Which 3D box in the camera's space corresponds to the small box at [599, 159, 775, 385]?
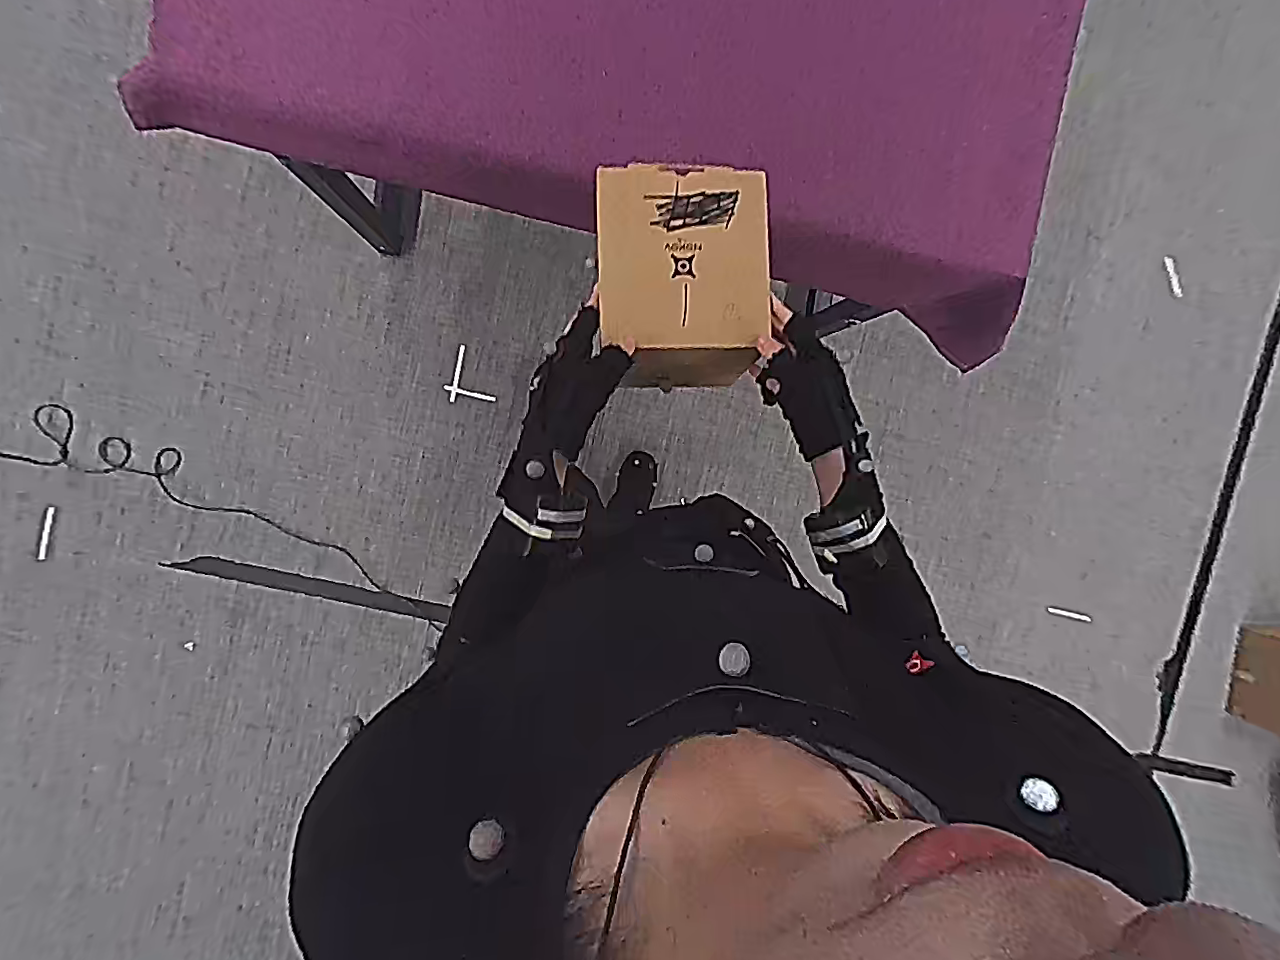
[{"bbox_3d":[0.040,-0.212,0.591,0.168,0.176,0.179,0,87,-4],"label":"small box"}]
